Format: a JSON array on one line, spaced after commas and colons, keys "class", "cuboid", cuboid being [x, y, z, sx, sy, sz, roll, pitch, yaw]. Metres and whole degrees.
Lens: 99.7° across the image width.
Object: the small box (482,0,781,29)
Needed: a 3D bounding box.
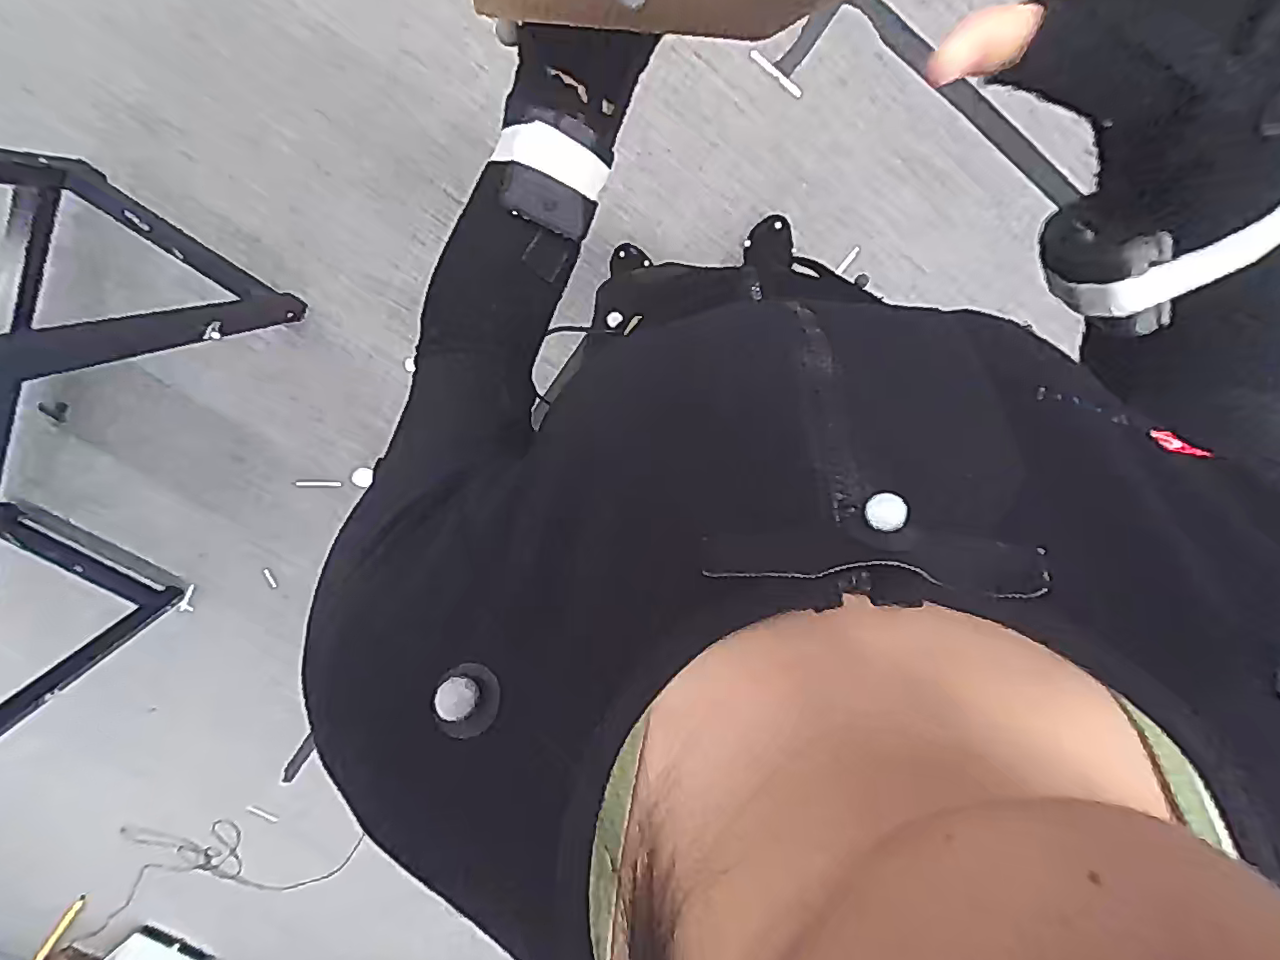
[{"class": "small box", "cuboid": [0.006, -0.301, 0.209, 0.179, 0.176, 0.168, -6, 118, -9]}]
